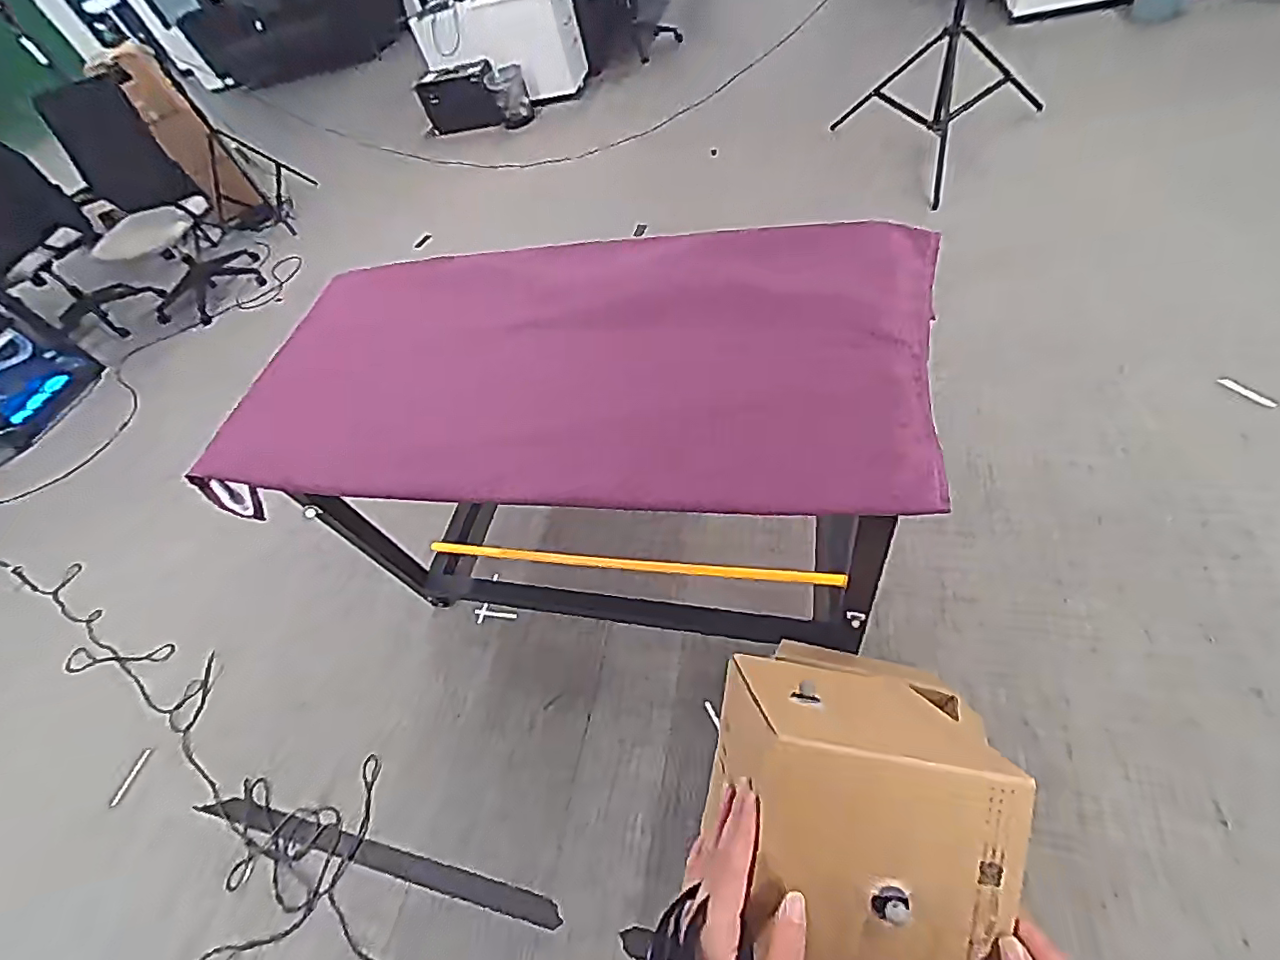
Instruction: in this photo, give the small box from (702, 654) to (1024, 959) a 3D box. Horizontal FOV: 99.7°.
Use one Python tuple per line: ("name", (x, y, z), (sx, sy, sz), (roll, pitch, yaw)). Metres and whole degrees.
("small box", (0.154, 0.253, 0.422), (0.176, 0.179, 0.168), (10, 89, 0))
